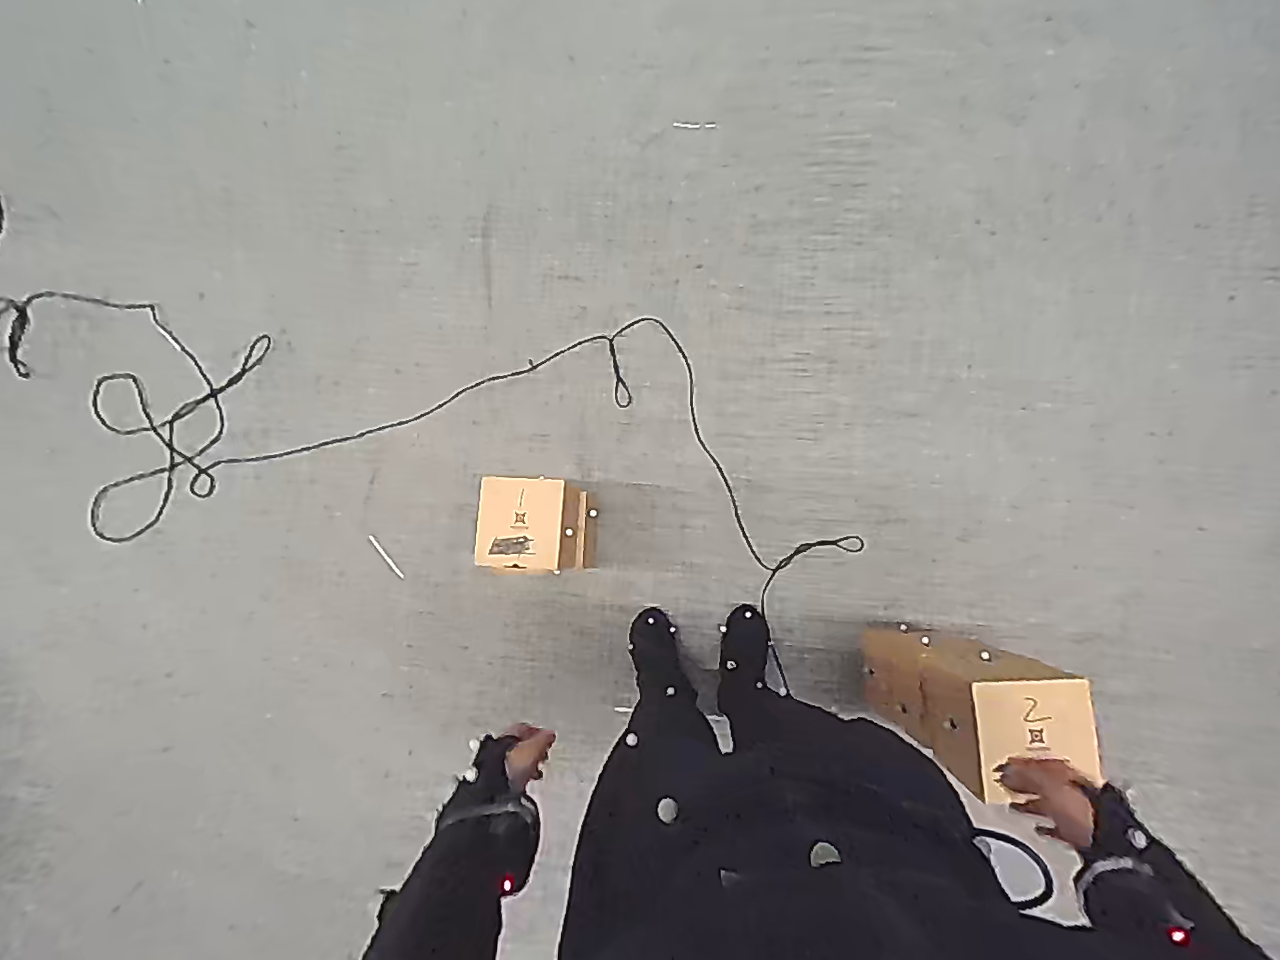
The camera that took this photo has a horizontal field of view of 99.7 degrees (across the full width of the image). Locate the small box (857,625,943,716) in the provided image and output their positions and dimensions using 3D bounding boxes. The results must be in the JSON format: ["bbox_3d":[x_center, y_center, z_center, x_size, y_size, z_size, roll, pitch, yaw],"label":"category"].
[{"bbox_3d":[0.594,0.421,1.200,0.179,0.176,0.168,2,85,5],"label":"small box"}]

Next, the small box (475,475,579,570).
[{"bbox_3d":[-0.225,0.090,1.120,0.168,0.176,0.179,3,83,4],"label":"small box"}]

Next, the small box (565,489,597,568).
[{"bbox_3d":[-0.197,0.114,1.281,0.168,0.176,0.179,2,84,5],"label":"small box"}]

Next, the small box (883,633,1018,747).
[{"bbox_3d":[0.582,0.394,1.039,0.179,0.176,0.168,0,86,3],"label":"small box"}]
